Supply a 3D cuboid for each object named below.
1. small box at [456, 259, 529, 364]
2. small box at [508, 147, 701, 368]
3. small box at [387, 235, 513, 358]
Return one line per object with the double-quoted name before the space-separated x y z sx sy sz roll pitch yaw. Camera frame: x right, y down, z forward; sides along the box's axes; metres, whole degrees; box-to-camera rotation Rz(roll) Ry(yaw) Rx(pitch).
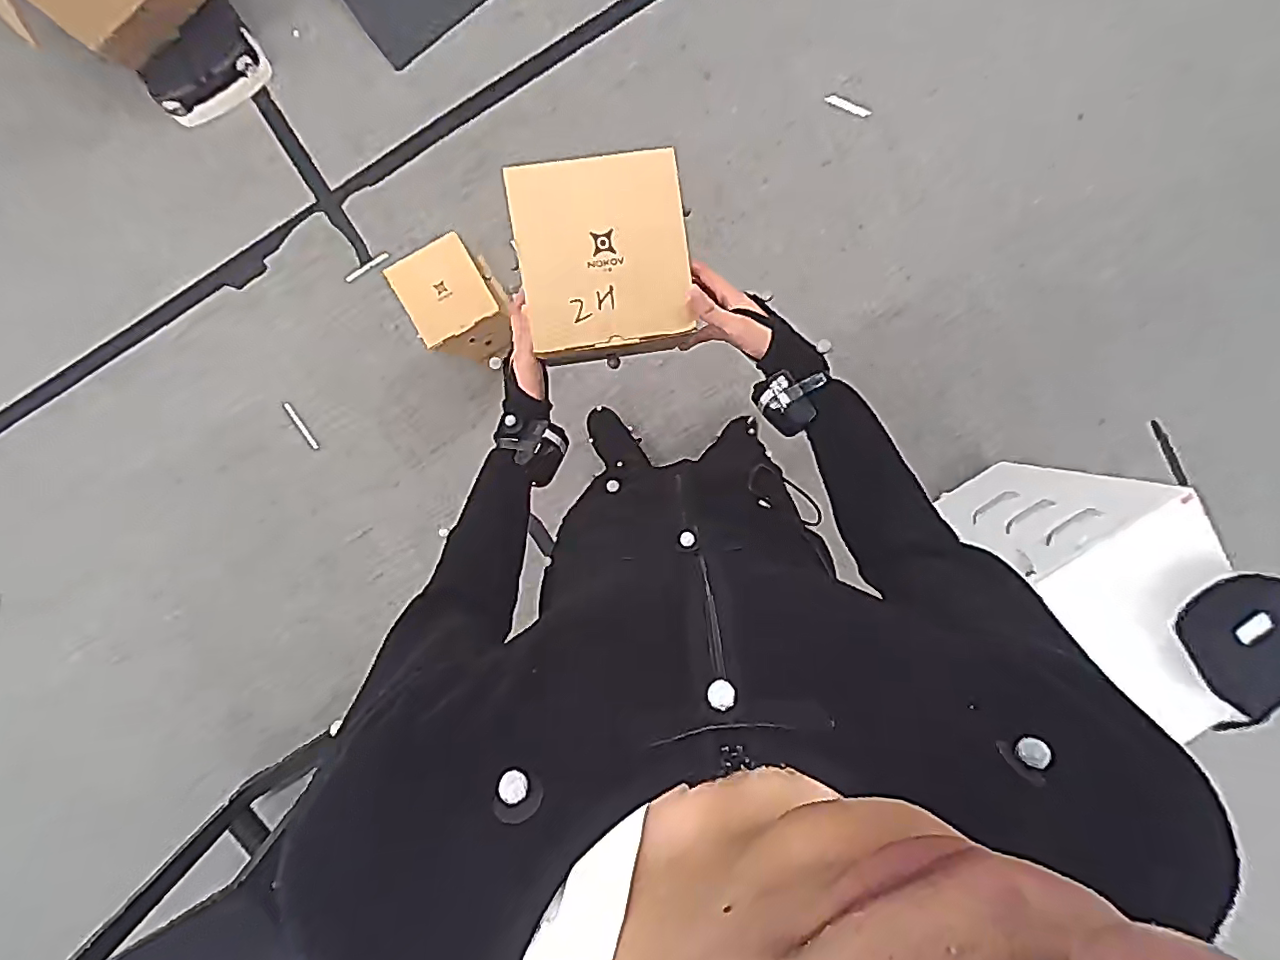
"small box" -0.389 -0.396 1.307 0.179 0.176 0.168 -31 98 0
"small box" -0.040 -0.227 0.593 0.168 0.176 0.179 -10 98 -4
"small box" -0.392 -0.377 1.145 0.168 0.176 0.179 -29 98 0
